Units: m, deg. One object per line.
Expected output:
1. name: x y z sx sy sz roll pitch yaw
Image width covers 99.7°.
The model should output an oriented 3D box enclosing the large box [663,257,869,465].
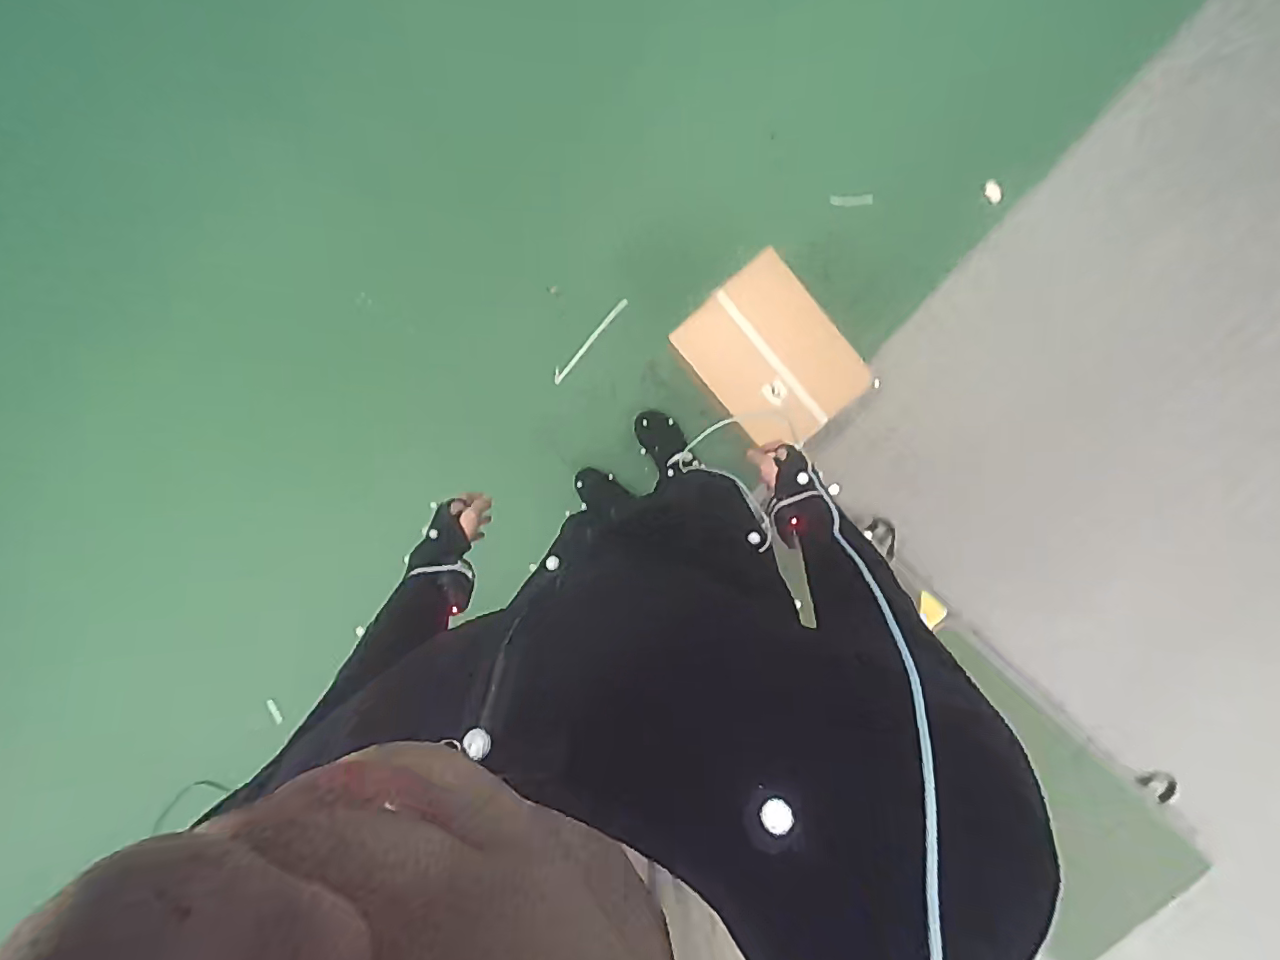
1. large box: 0.305 -0.298 1.431 0.320 0.320 0.408 -41 95 7
